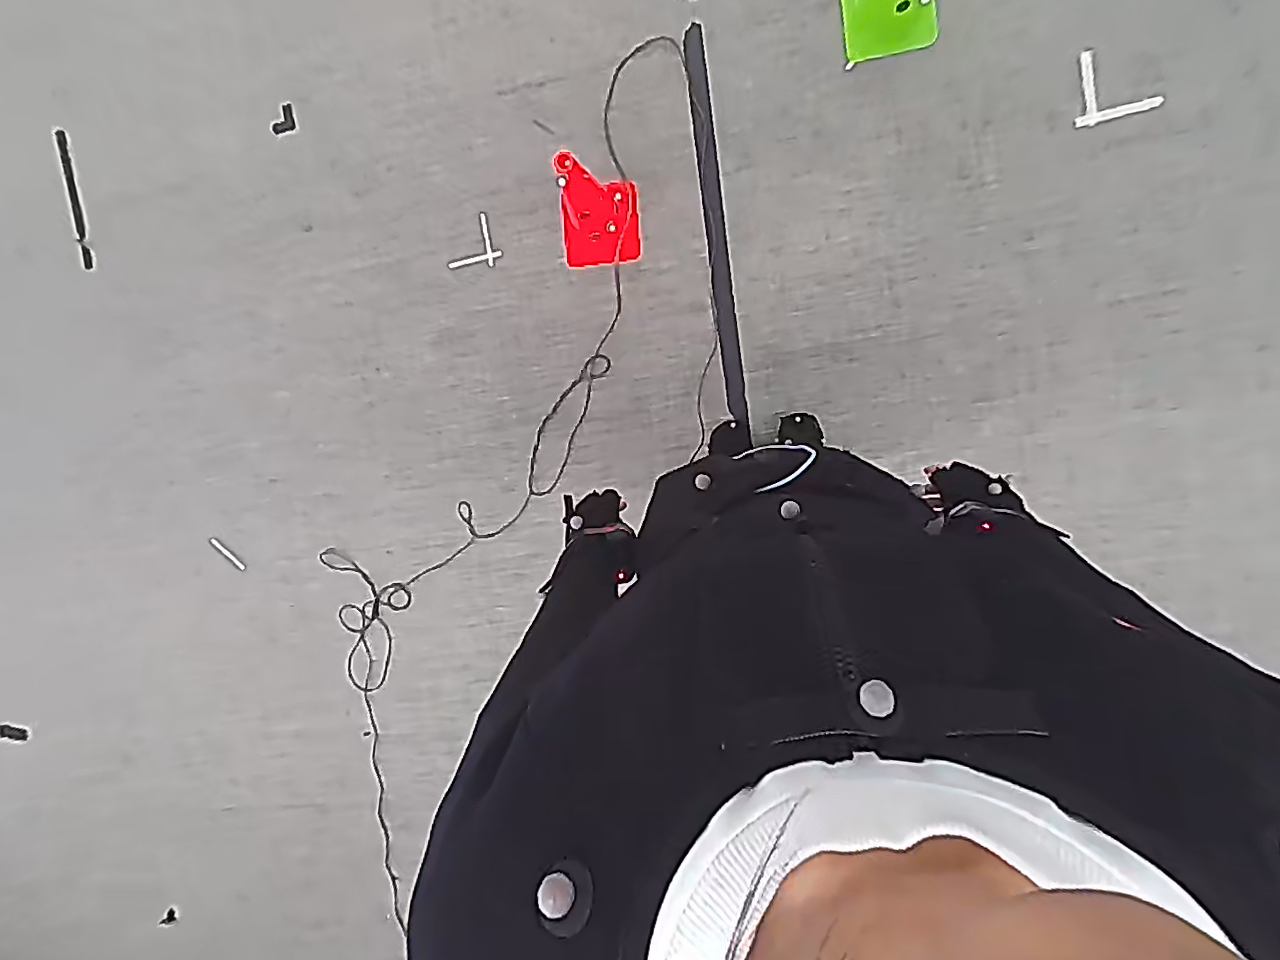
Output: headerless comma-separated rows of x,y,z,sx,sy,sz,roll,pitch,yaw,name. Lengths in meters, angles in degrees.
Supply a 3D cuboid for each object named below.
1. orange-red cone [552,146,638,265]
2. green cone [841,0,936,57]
-0.130,-0.644,1.221,0.199,0.360,0.198,-3,95,10,orange-red cone
0.548,-1.070,1.071,0.202,0.368,0.200,-7,96,8,green cone
